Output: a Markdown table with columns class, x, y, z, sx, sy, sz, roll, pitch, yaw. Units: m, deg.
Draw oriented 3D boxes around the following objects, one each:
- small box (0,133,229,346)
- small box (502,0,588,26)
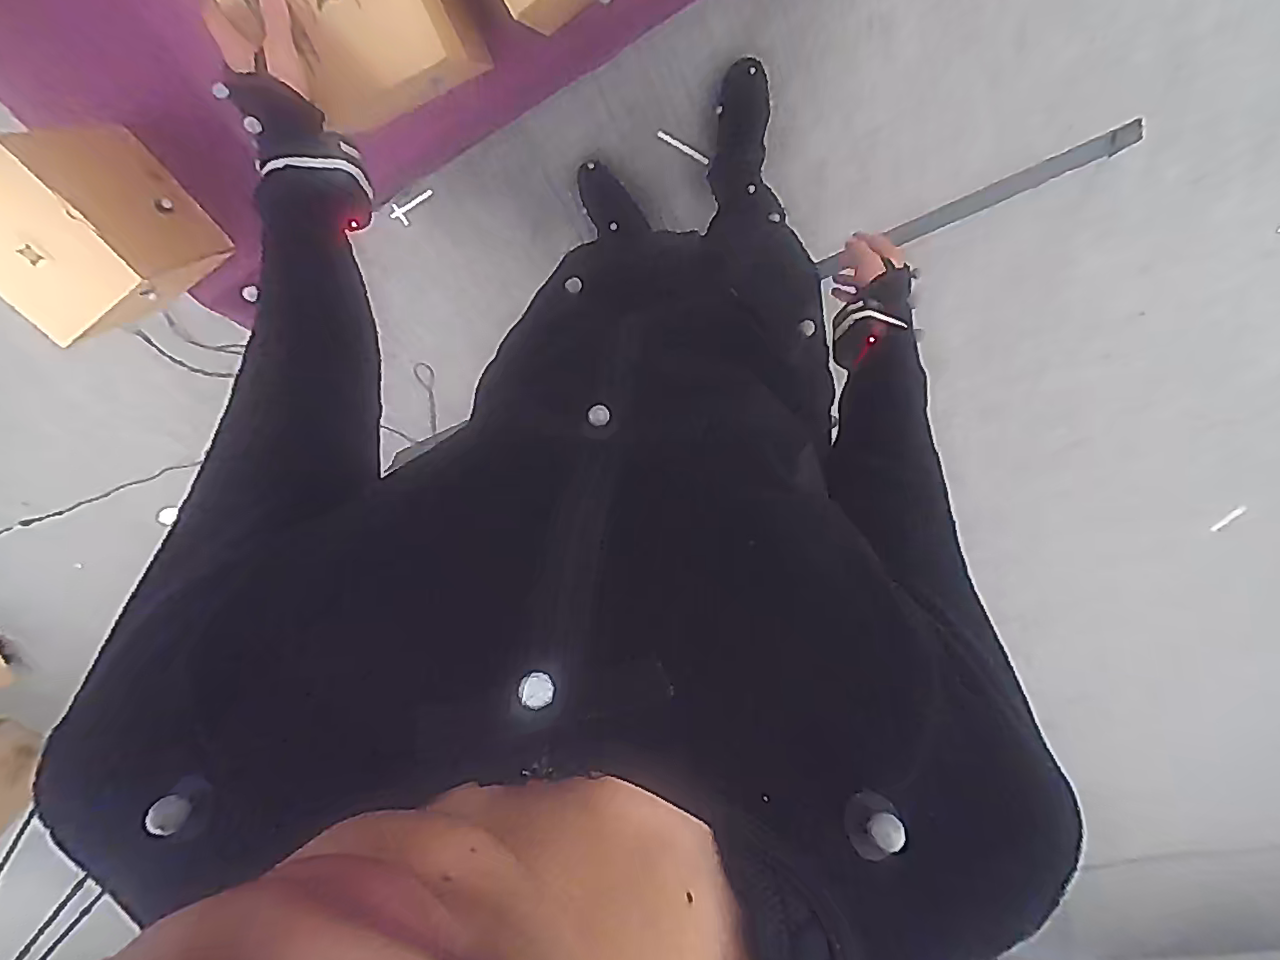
| class | x | y | z | sx | sy | sz | roll | pitch | yaw |
| --- | --- | --- | --- | --- | --- | --- | --- | --- | --- |
| small box | -0.676 | -0.301 | 0.676 | 0.179 | 0.176 | 0.168 | -25 | 120 | 18 |
| small box | -0.082 | -0.544 | 0.469 | 0.168 | 0.176 | 0.179 | -24 | 121 | 19 |
